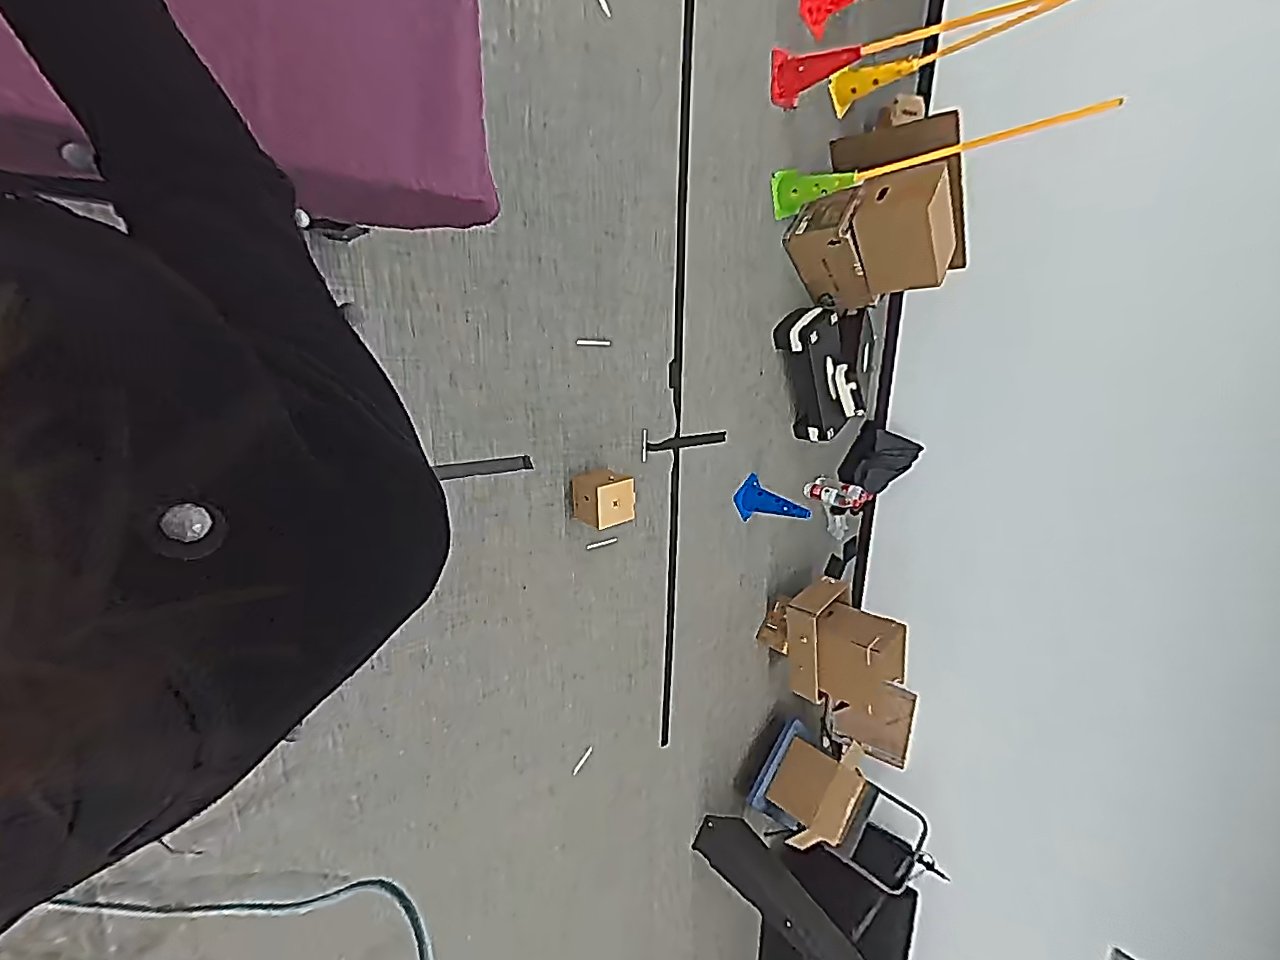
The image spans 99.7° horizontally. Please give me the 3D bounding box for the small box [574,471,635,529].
[{"bbox_3d":[-0.140,0.070,2.056,0.179,0.176,0.168,-16,112,-39],"label":"small box"}]
